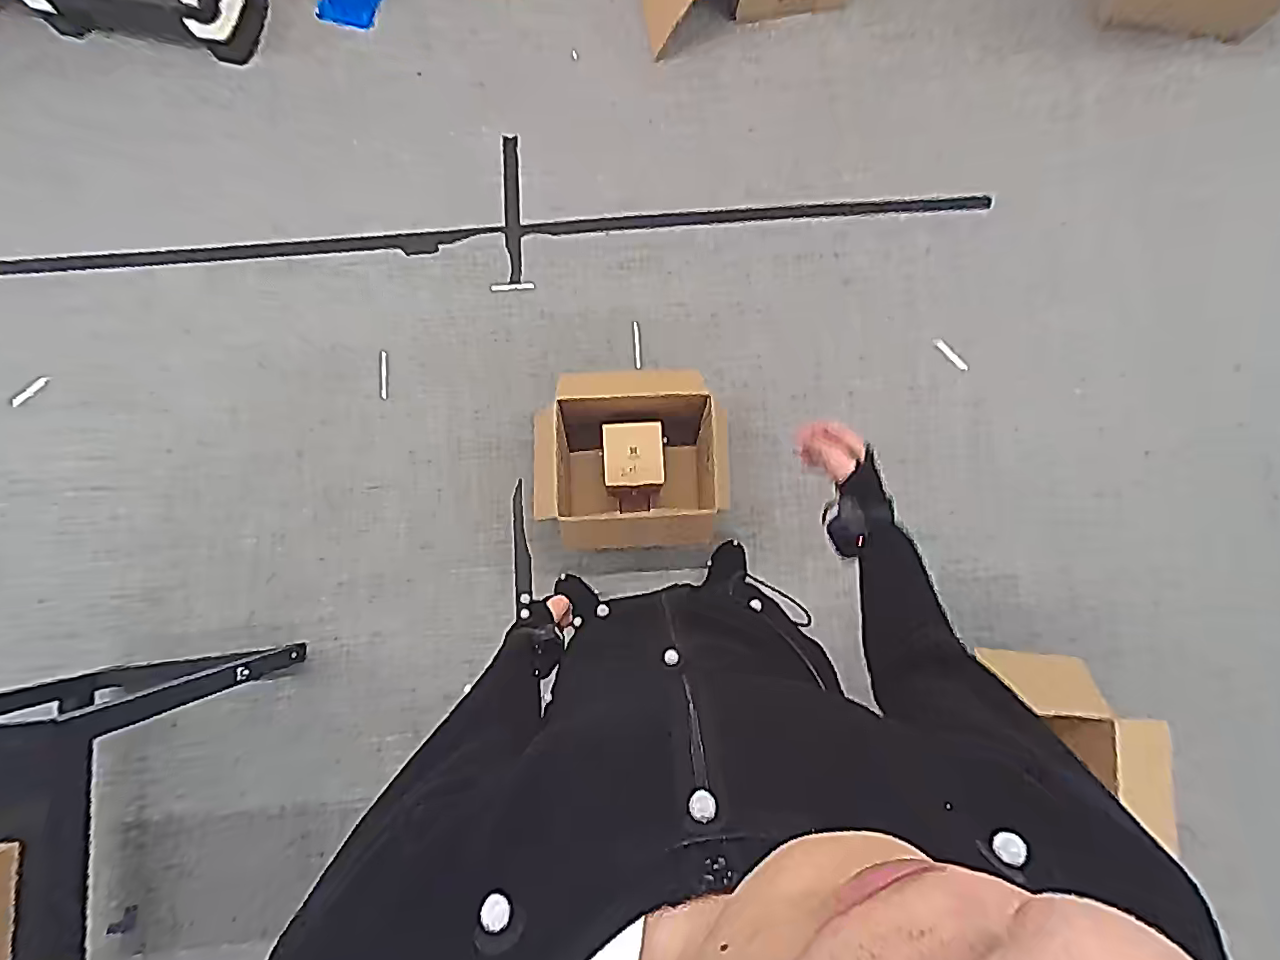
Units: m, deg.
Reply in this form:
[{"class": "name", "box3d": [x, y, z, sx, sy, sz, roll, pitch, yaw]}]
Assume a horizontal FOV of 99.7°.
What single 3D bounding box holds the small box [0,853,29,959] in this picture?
[{"class": "small box", "box3d": [-1.032, 0.657, 0.760, 0.168, 0.176, 0.179, -3, 84, 0]}]
